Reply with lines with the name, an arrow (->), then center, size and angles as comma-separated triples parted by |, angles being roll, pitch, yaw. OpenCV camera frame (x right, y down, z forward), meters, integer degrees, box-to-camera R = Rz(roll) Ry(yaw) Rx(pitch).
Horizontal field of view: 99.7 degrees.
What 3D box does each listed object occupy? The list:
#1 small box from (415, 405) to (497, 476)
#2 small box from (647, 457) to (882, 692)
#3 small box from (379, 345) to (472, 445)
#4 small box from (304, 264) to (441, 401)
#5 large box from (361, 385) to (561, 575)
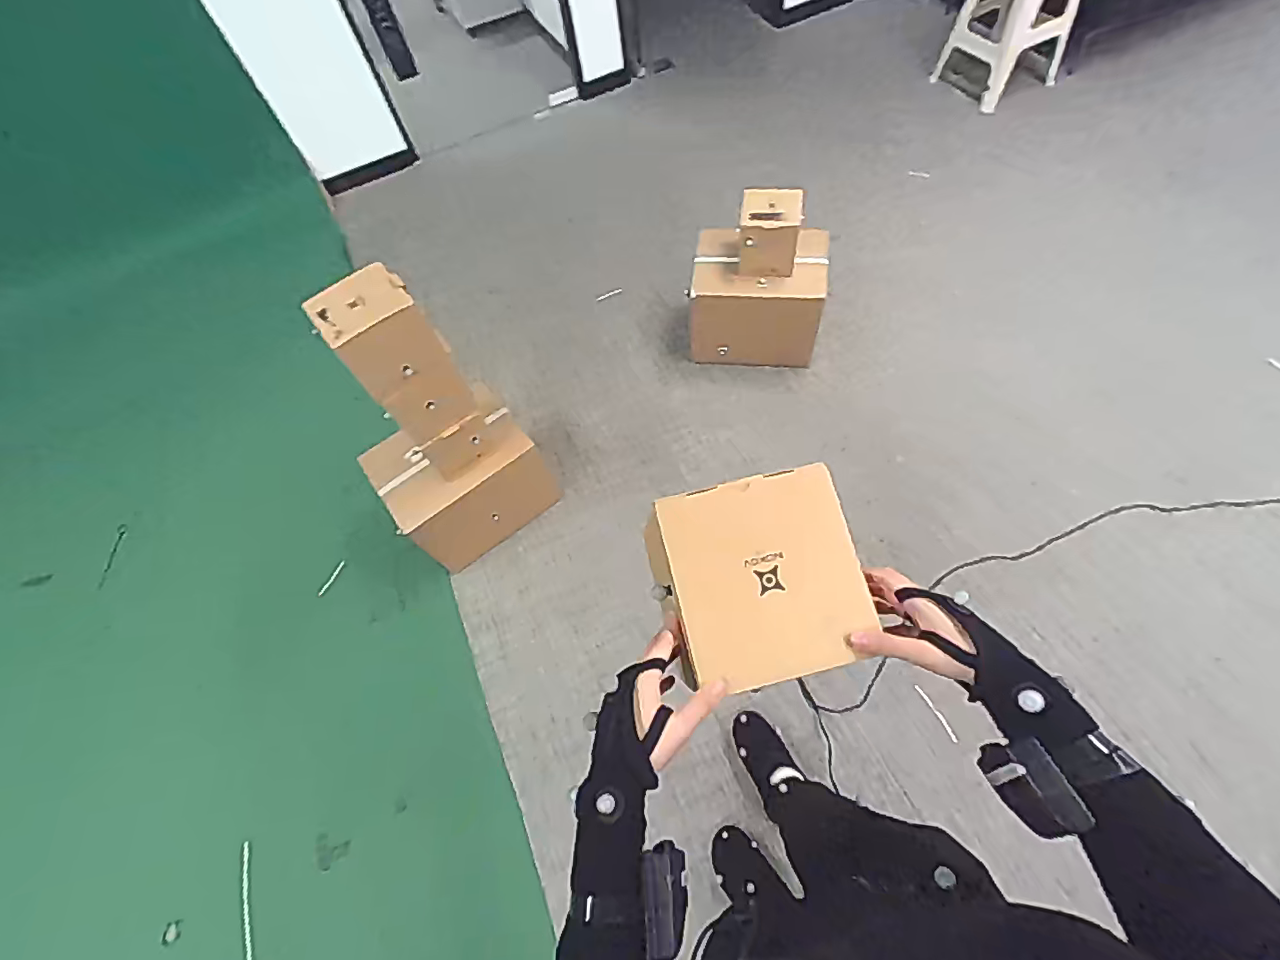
small box -> -0.495, -0.132, 1.391 | 0.168, 0.176, 0.179 | -36, 62, -13
small box -> 0.106, 0.096, 0.545 | 0.168, 0.176, 0.179 | -13, 75, -5
small box -> -0.513, -0.217, 1.252 | 0.179, 0.176, 0.168 | -38, 63, -14
small box -> -0.535, -0.299, 1.111 | 0.179, 0.176, 0.168 | -36, 62, -14
large box -> -0.508, 0.005, 1.597 | 0.408, 0.320, 0.320 | -38, 61, -12
